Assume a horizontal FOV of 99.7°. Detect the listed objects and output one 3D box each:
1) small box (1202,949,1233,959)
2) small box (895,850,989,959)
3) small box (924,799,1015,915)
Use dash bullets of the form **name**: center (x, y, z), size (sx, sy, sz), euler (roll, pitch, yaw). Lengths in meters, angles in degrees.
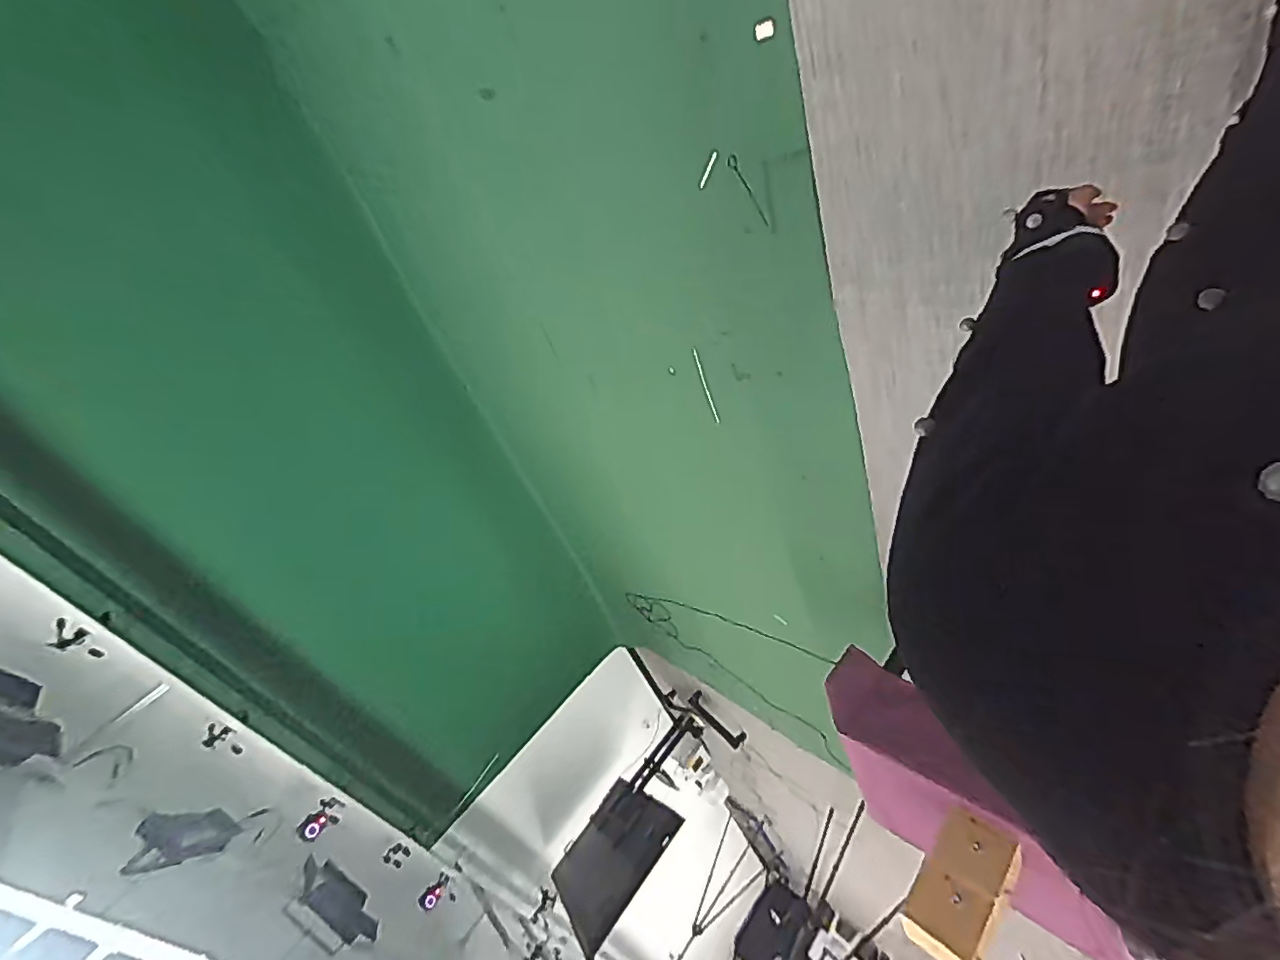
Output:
- **small box**: center (1.243, 1.115, 1.090), size (0.179, 0.176, 0.168), euler (16, 141, 48)
- **small box**: center (0.791, 1.123, 1.409), size (0.168, 0.176, 0.179), euler (16, 139, 47)
- **small box**: center (0.899, 1.018, 1.473), size (0.168, 0.176, 0.179), euler (16, 141, 47)
